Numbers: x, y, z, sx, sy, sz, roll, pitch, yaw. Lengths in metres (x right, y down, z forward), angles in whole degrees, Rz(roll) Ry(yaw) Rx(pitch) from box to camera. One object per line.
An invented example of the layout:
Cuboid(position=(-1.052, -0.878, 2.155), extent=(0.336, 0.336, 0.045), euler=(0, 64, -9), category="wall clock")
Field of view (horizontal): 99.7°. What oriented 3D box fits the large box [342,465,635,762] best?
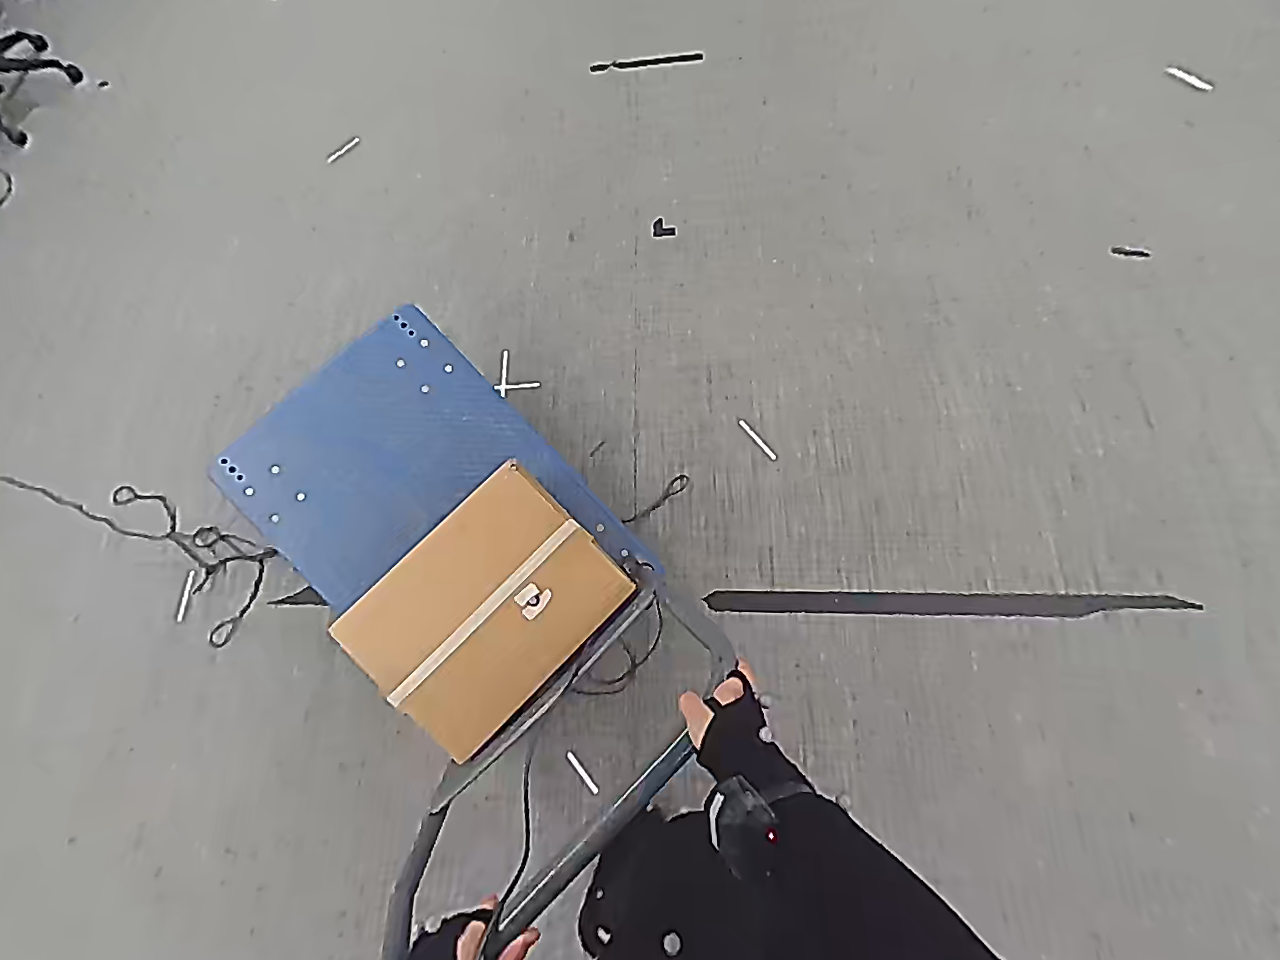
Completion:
Cuboid(position=(-0.264, 0.236, 1.057), extent=(0.320, 0.320, 0.408), euler=(45, 82, 0), category="large box")
